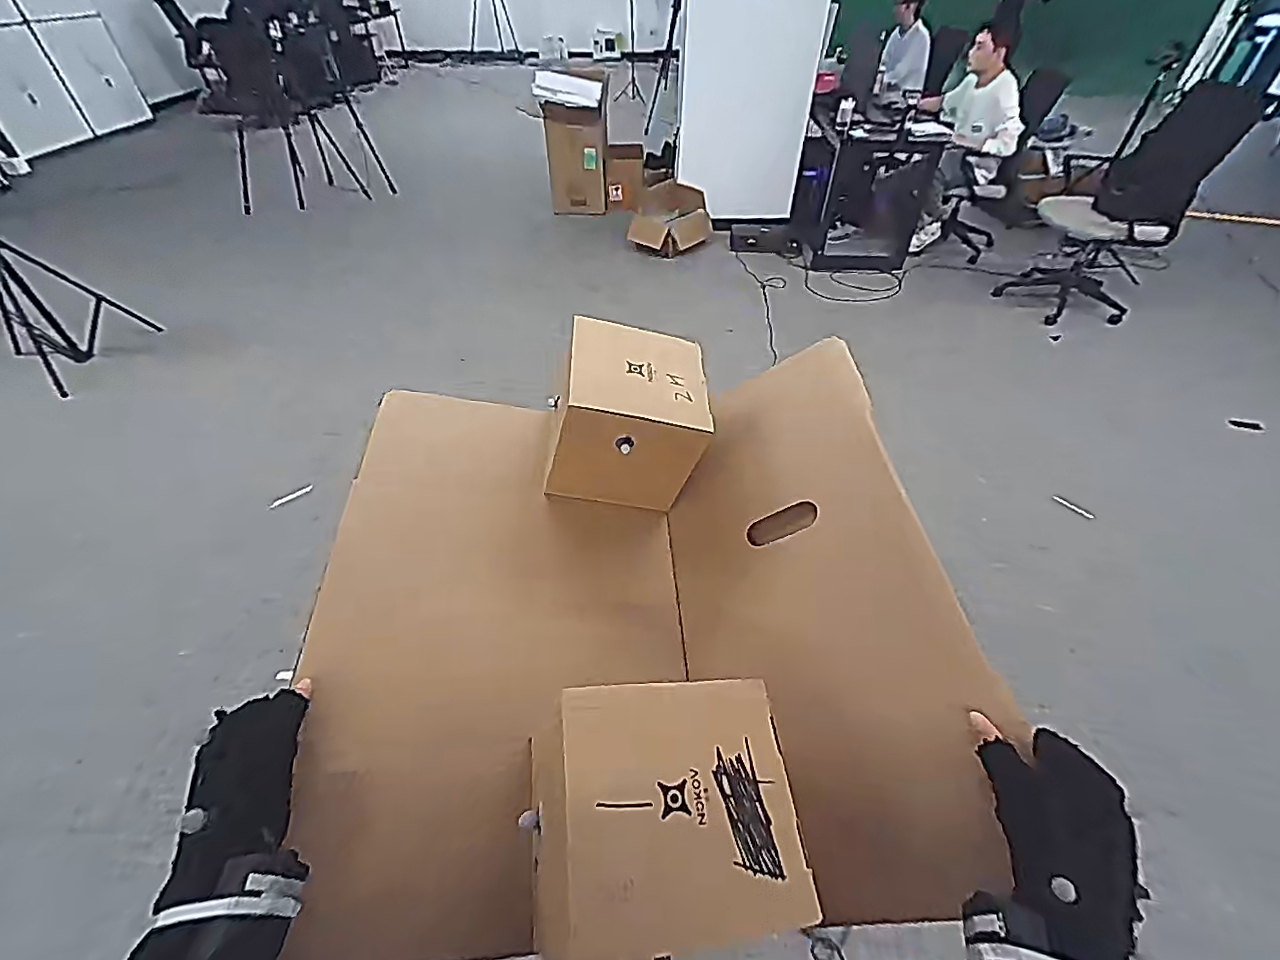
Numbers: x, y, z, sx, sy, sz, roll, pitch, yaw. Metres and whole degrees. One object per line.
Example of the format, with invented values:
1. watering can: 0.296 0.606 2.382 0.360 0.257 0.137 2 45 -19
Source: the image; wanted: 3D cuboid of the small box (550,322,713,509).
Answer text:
1. small box: -0.020 -0.078 0.726 0.179 0.176 0.168 10 51 -14
